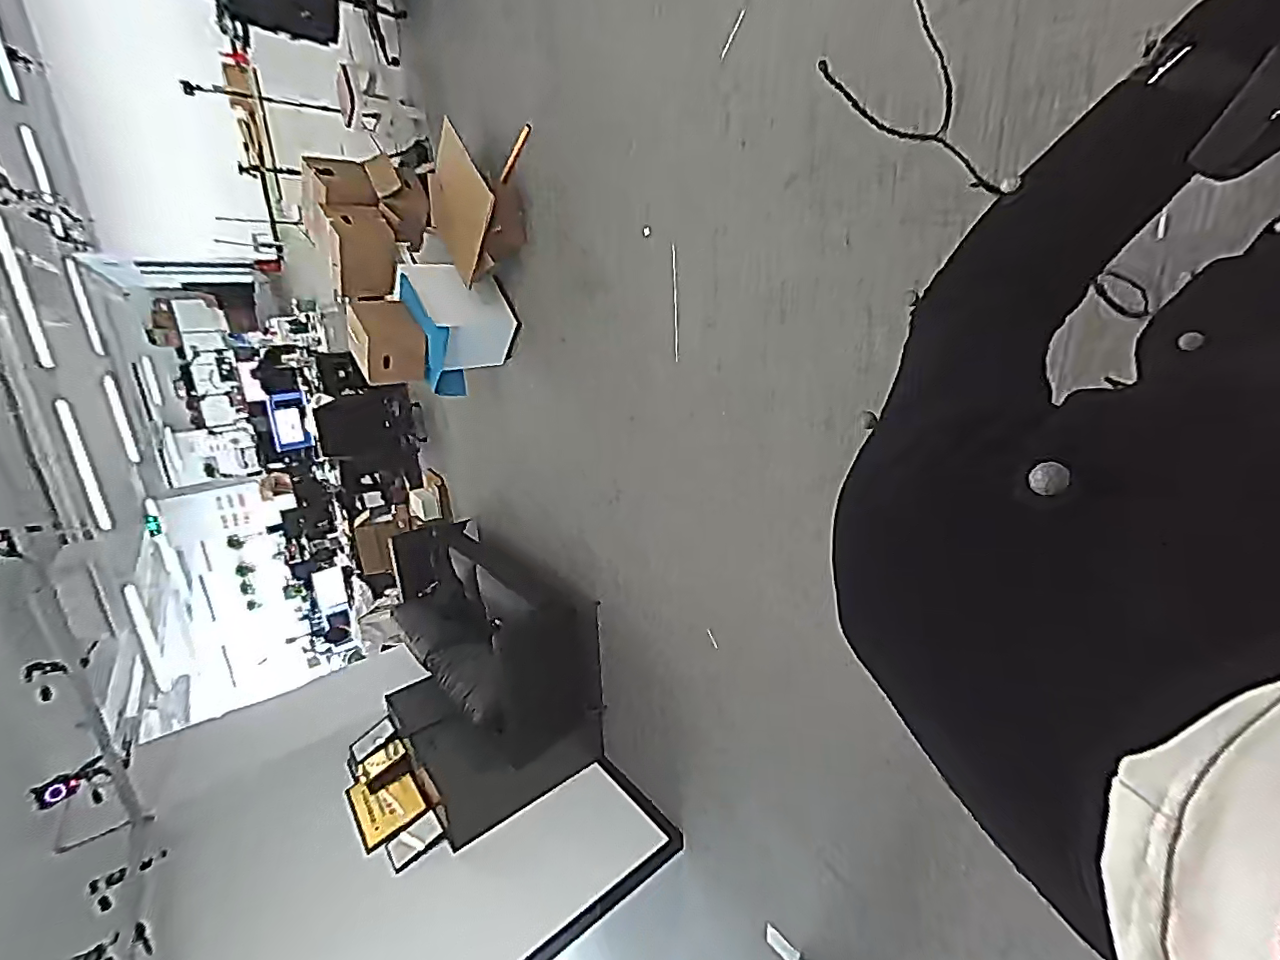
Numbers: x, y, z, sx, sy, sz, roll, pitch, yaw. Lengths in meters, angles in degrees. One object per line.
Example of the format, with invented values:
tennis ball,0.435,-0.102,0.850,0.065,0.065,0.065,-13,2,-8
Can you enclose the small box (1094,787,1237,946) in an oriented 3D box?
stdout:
small box,1.109,0.805,1.142,0.168,0.176,0.179,25,123,46

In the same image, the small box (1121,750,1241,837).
small box,1.235,0.766,1.241,0.168,0.176,0.179,20,118,50
